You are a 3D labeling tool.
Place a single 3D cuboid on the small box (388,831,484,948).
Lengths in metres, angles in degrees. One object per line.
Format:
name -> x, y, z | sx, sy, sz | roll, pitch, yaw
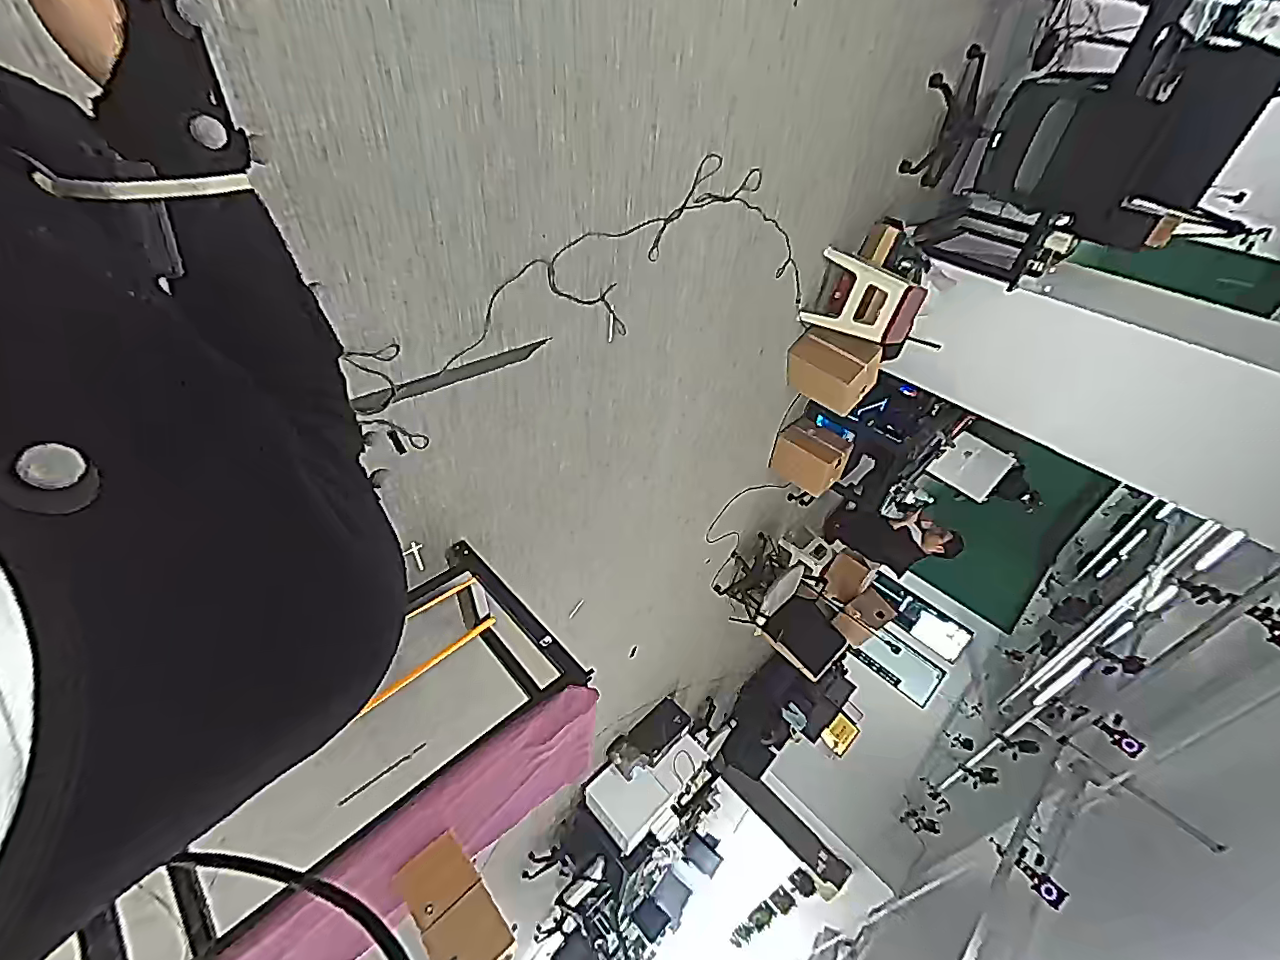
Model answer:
small box -> -0.550, 1.103, 1.467 | 0.179, 0.176, 0.168 | -30, 143, -34
